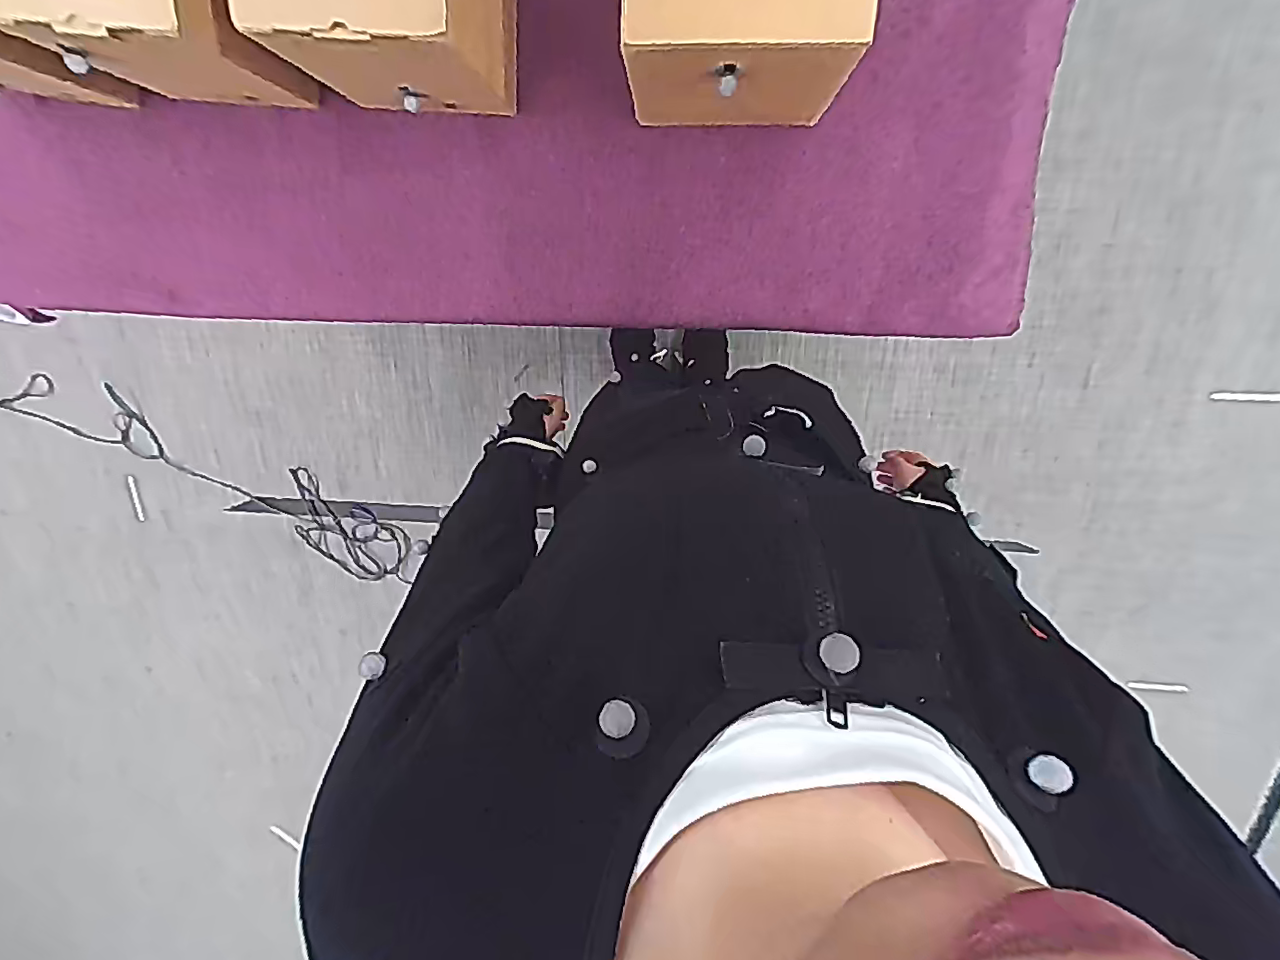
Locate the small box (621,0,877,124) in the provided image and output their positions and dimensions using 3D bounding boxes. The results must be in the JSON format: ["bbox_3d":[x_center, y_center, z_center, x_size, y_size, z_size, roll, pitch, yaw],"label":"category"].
[{"bbox_3d":[0.082,-0.404,0.429,0.179,0.176,0.168,3,107,5],"label":"small box"}]
